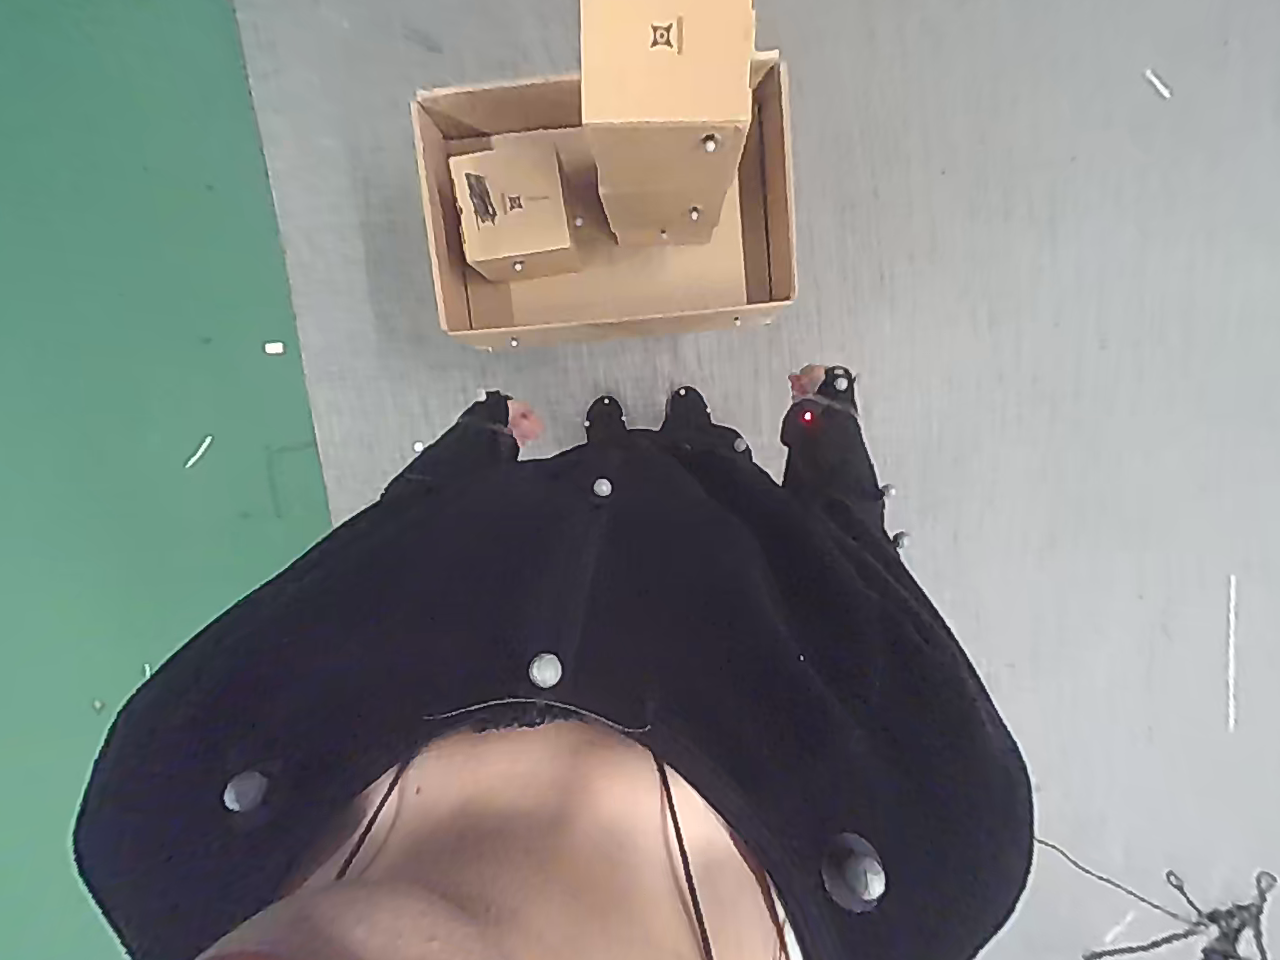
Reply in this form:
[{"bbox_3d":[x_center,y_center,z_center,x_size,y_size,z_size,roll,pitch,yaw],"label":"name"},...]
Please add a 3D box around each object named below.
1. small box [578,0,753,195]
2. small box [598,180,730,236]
[{"bbox_3d":[0.029,-0.445,0.623,0.179,0.176,0.168,1,97,3],"label":"small box"},{"bbox_3d":[0.034,-0.466,0.783,0.179,0.176,0.168,-1,98,4],"label":"small box"}]
